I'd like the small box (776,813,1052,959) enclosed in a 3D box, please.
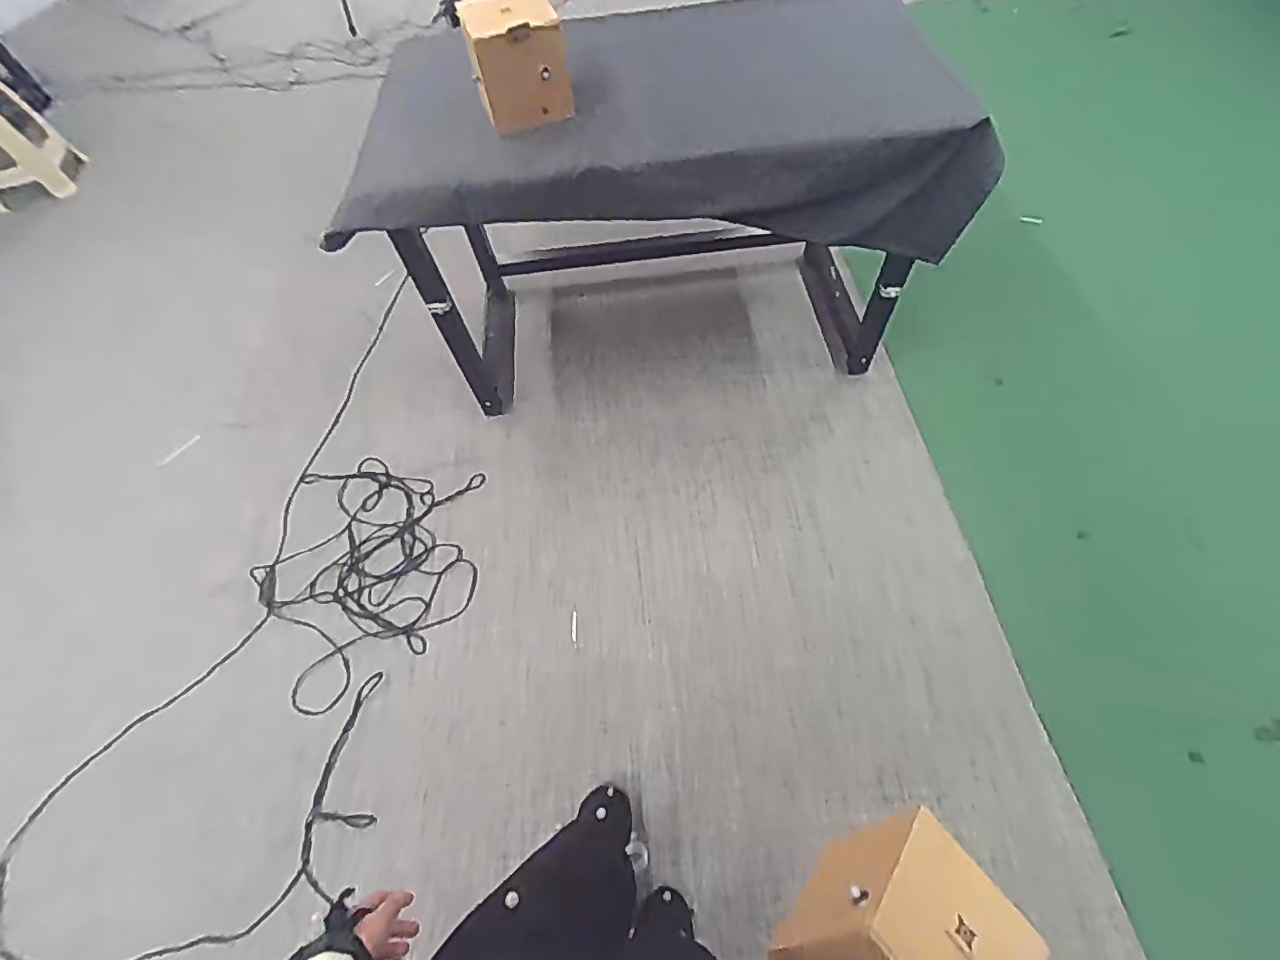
[{"bbox_3d":[0.272,0.495,0.555,0.179,0.176,0.168,-19,59,-46],"label":"small box"}]

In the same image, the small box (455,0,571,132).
[{"bbox_3d":[-0.245,-0.819,1.070,0.168,0.176,0.179,-19,59,-9],"label":"small box"}]
